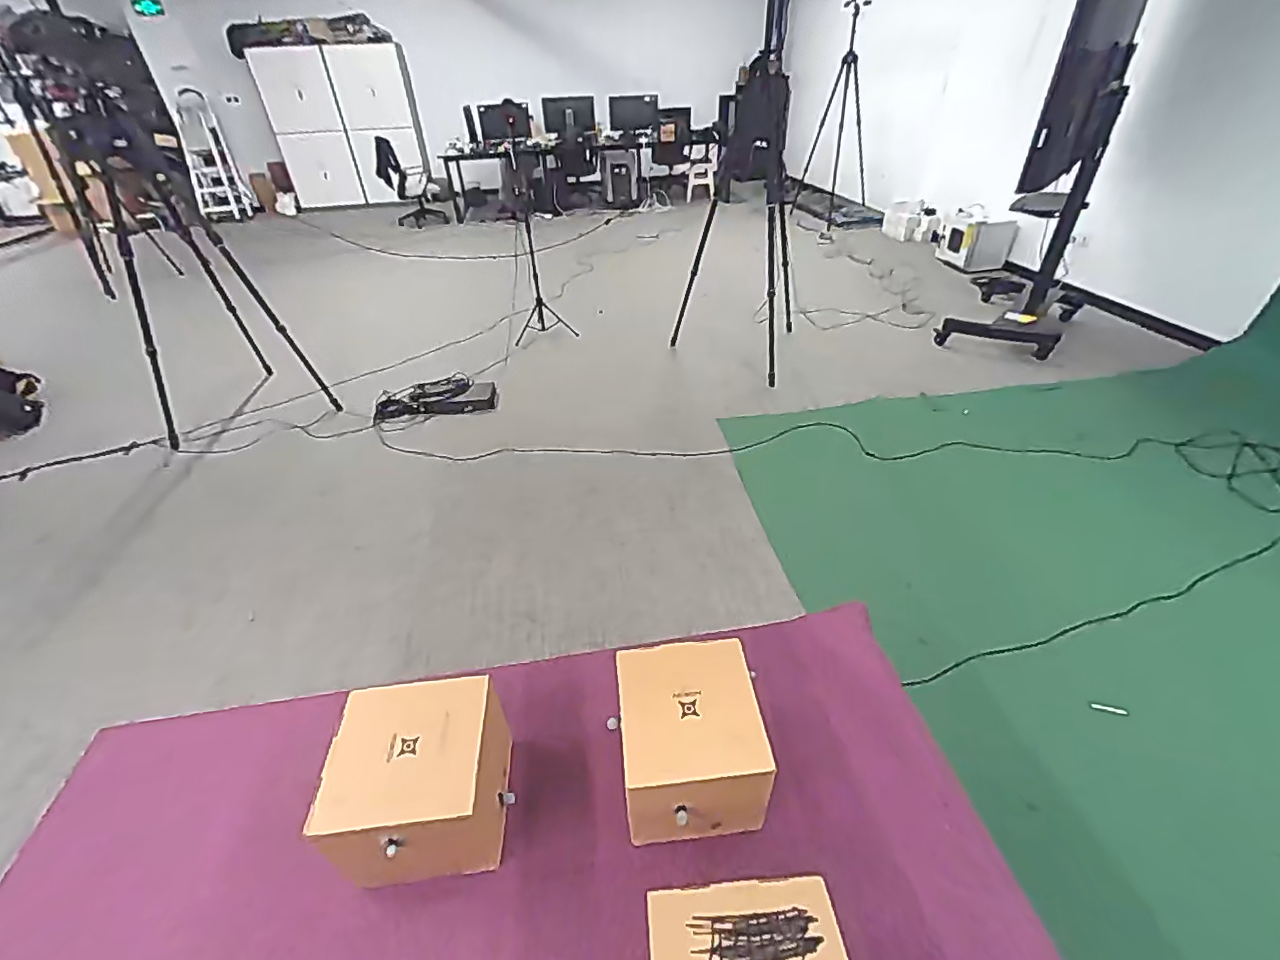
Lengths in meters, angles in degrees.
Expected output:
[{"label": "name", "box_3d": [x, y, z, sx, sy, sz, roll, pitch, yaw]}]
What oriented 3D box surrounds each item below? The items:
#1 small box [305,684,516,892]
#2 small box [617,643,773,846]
[{"label": "small box", "box_3d": [-0.262, 0.380, 0.668, 0.179, 0.176, 0.168, -5, 37, -3]}, {"label": "small box", "box_3d": [0.063, 0.340, 0.691, 0.168, 0.176, 0.179, -6, 36, -2]}]
